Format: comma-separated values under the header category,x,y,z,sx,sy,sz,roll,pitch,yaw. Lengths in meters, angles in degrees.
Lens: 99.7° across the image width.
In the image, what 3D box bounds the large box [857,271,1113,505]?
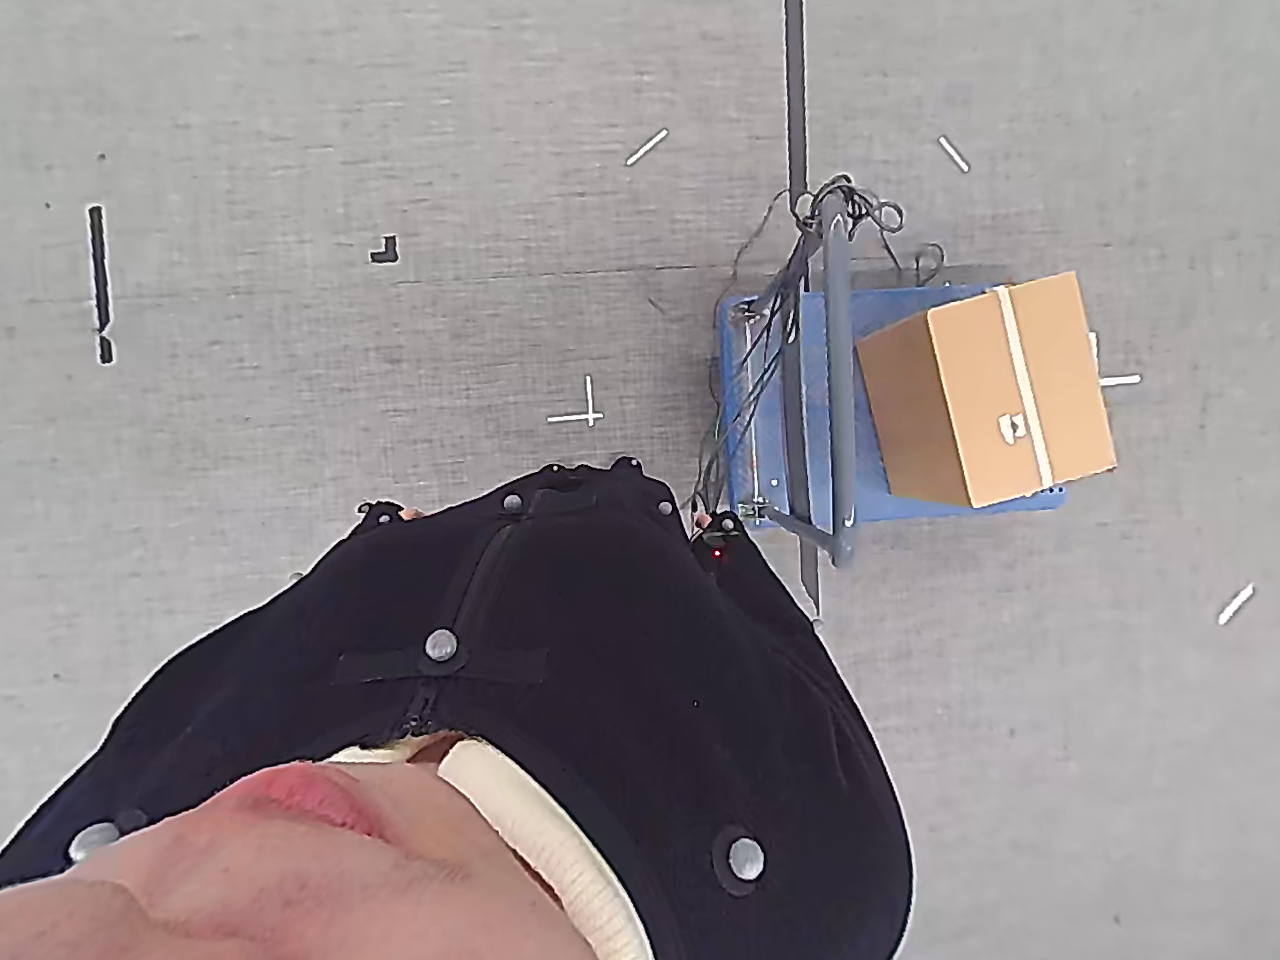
category,x,y,z,sx,sy,sz,roll,pitch,yaw
large box,0.738,-0.189,1.207,0.320,0.320,0.408,-15,95,-2
